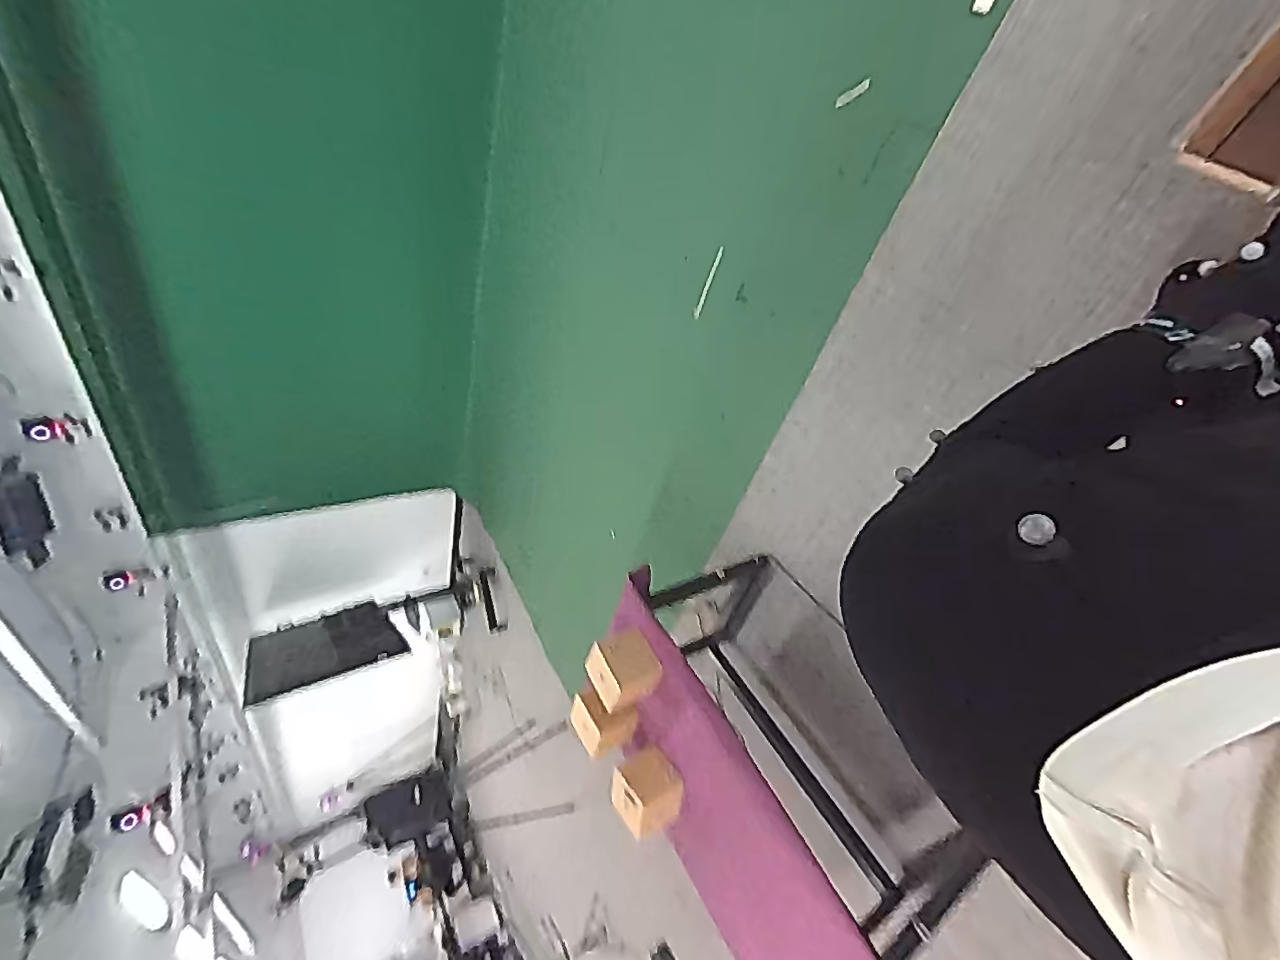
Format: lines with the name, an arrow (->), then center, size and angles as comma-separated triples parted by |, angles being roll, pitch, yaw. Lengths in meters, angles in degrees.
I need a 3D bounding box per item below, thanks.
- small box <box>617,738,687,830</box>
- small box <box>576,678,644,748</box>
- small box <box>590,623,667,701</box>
small box -> 0.040, 1.012, 1.816 | 0.168, 0.176, 0.179 | 34, 127, 47
small box -> -0.113, 0.838, 1.991 | 0.179, 0.176, 0.168 | 46, 135, 37
small box -> -0.038, 0.596, 1.798 | 0.179, 0.176, 0.168 | 54, 141, 30
